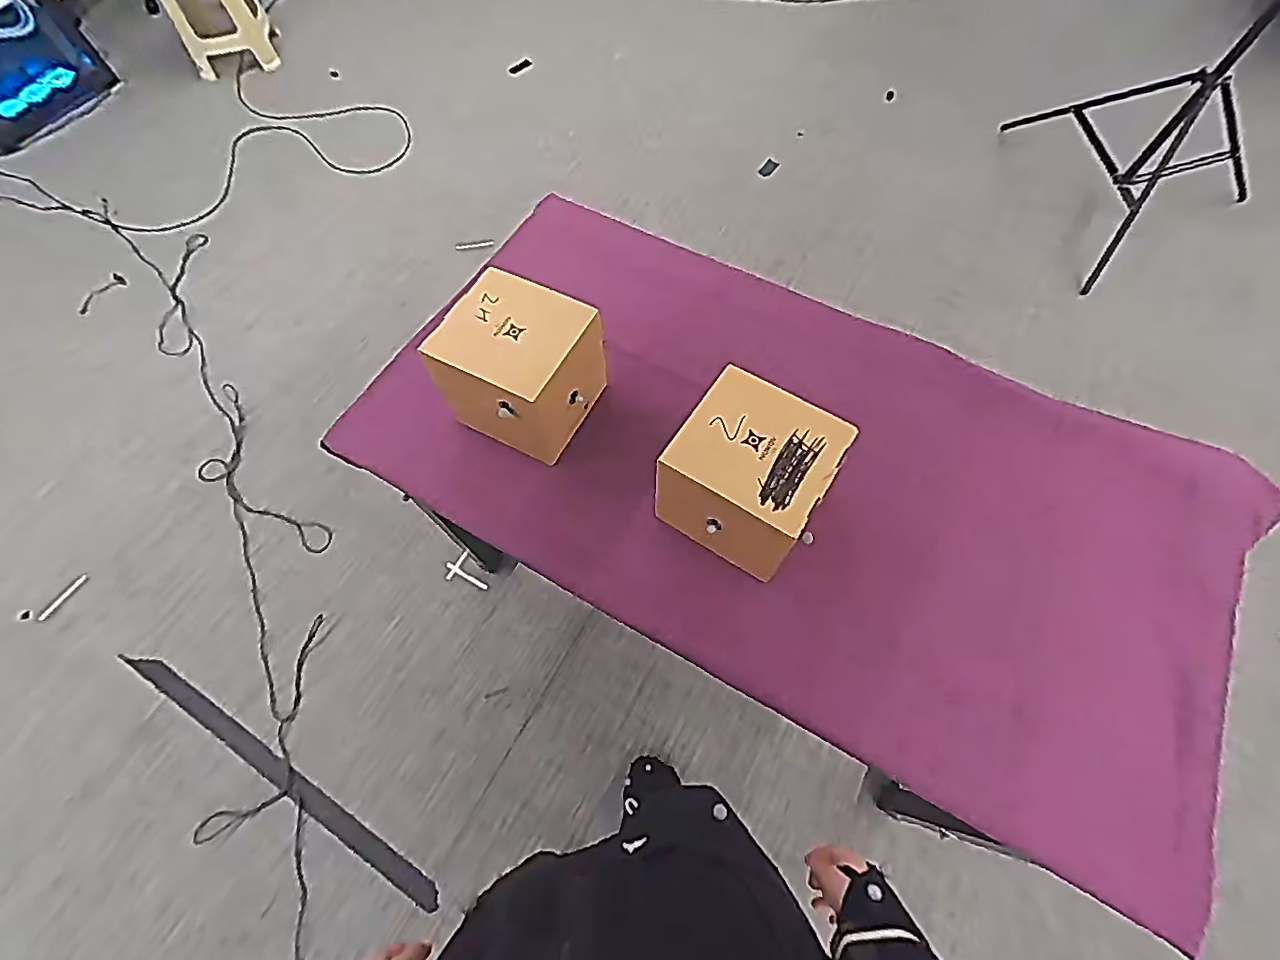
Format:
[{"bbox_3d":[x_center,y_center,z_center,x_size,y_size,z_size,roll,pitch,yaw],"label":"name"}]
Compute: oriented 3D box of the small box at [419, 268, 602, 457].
[{"bbox_3d":[-0.165,-0.156,0.763,0.179,0.176,0.168,25,66,12],"label":"small box"}]
